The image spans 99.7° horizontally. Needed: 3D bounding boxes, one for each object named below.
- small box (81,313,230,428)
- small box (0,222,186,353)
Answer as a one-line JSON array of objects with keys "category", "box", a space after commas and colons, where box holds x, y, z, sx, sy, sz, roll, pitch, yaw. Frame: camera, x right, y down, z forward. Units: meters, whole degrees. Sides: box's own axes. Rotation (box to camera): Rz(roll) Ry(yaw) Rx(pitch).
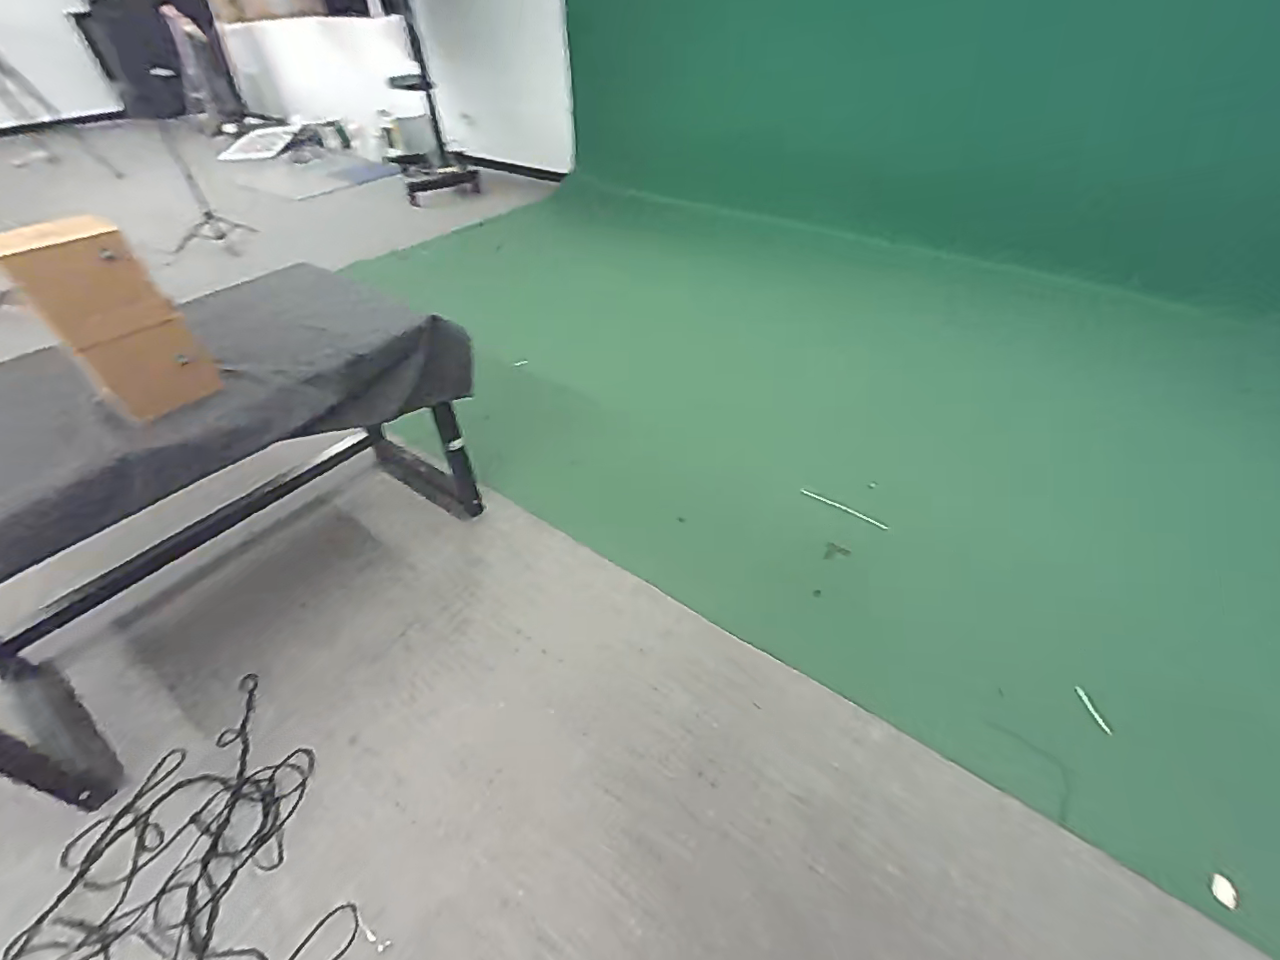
[{"category": "small box", "box": [-0.990, -0.237, 1.107, 0.168, 0.176, 0.179, 25, 50, 28]}, {"category": "small box", "box": [-1.002, -0.354, 0.995, 0.168, 0.176, 0.179, 26, 49, 29]}]
